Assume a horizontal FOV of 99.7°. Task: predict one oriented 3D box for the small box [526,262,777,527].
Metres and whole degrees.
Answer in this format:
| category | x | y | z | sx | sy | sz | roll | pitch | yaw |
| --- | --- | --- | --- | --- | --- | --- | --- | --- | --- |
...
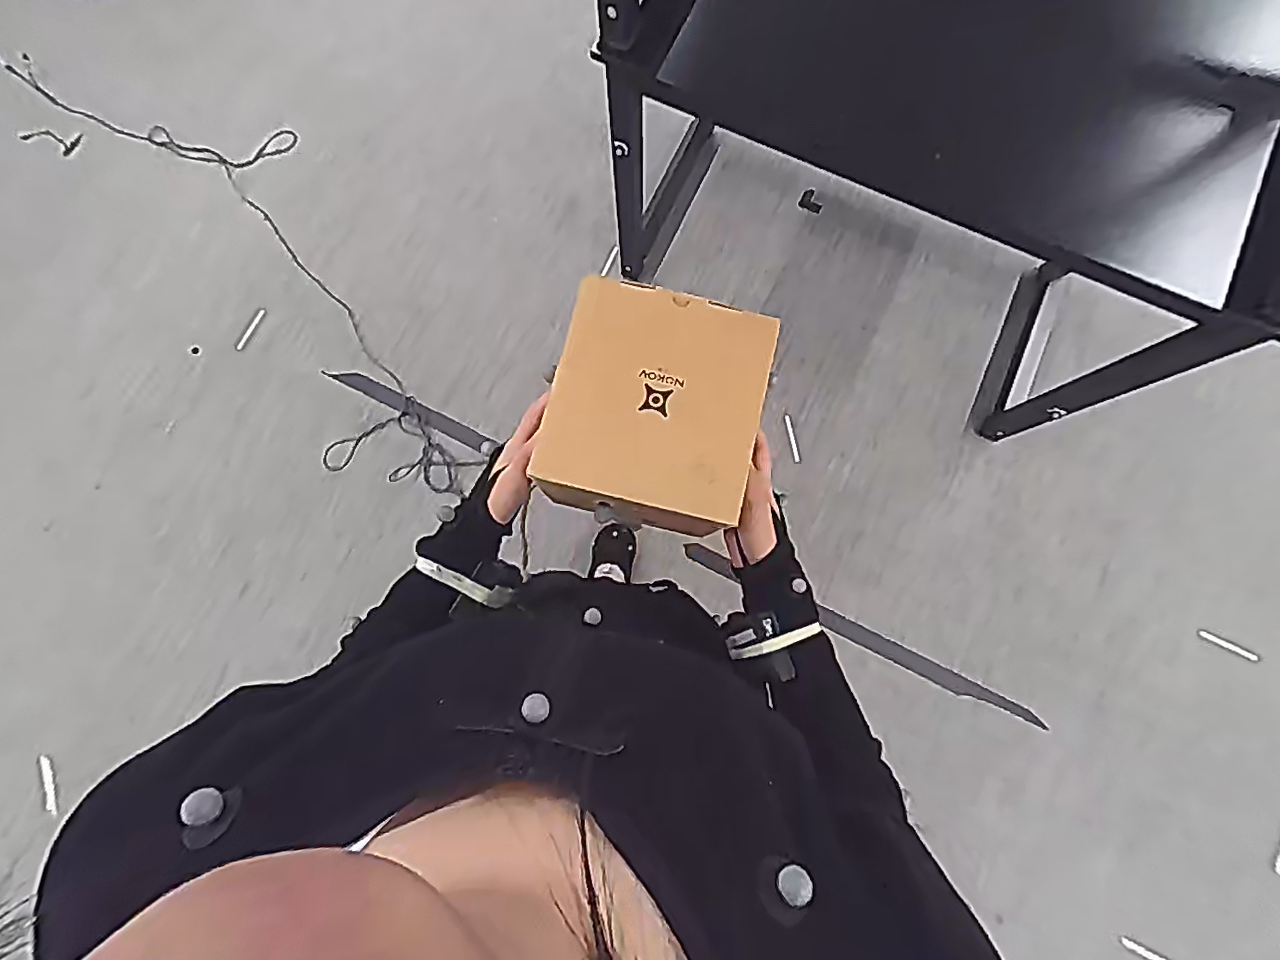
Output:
| category | x | y | z | sx | sy | sz | roll | pitch | yaw |
| --- | --- | --- | --- | --- | --- | --- | --- | --- | --- |
| small box | 0.010 | -0.061 | 0.497 | 0.168 | 0.176 | 0.179 | 13 | 80 | 0 |
